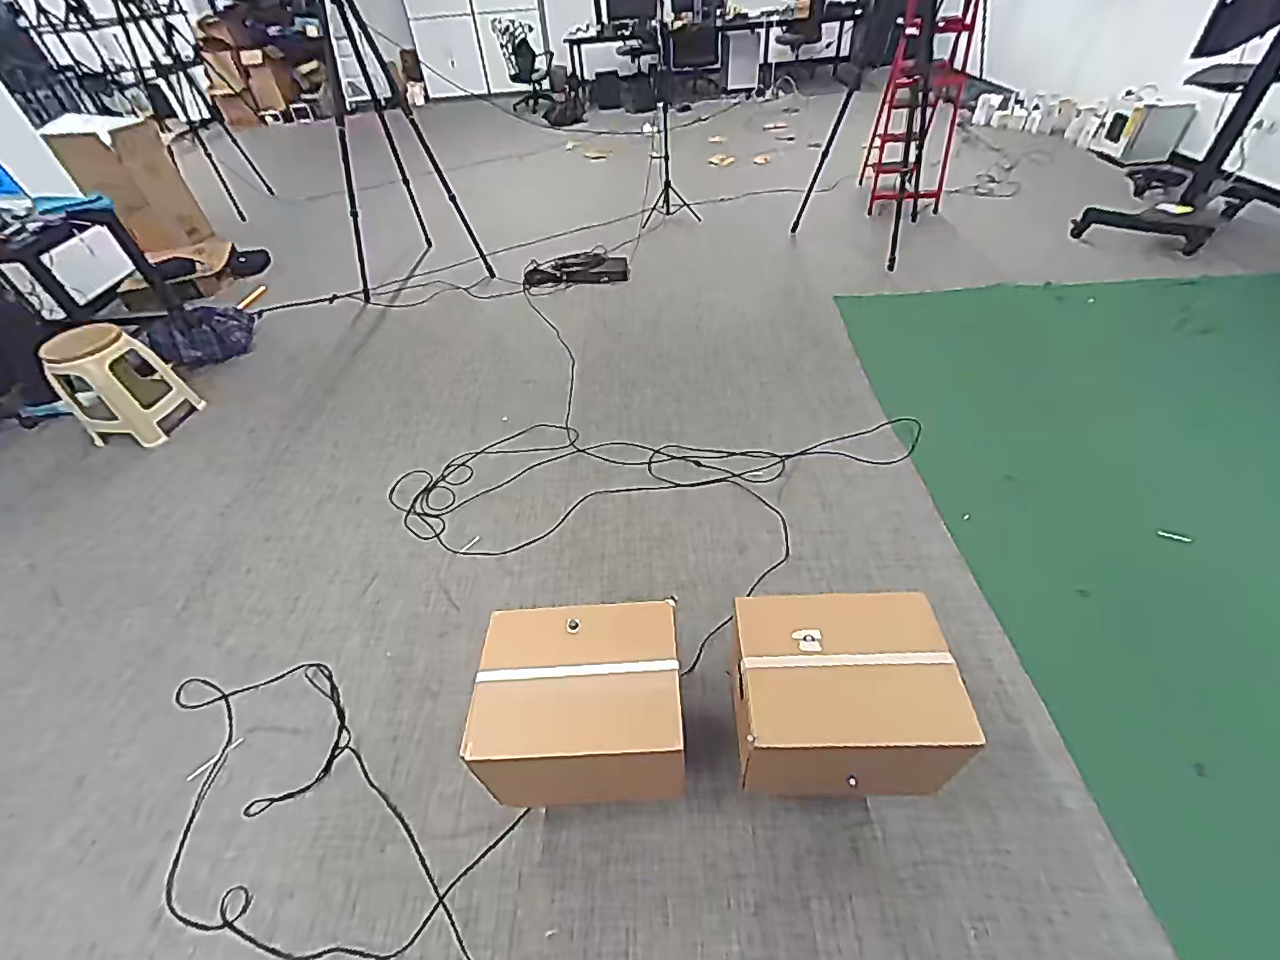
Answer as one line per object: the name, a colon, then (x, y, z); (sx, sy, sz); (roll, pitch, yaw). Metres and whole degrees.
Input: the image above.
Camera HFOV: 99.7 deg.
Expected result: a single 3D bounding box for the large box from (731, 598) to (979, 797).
large box: (0.419, 0.477, 1.174); (0.408, 0.320, 0.320); (-2, 44, 4)
